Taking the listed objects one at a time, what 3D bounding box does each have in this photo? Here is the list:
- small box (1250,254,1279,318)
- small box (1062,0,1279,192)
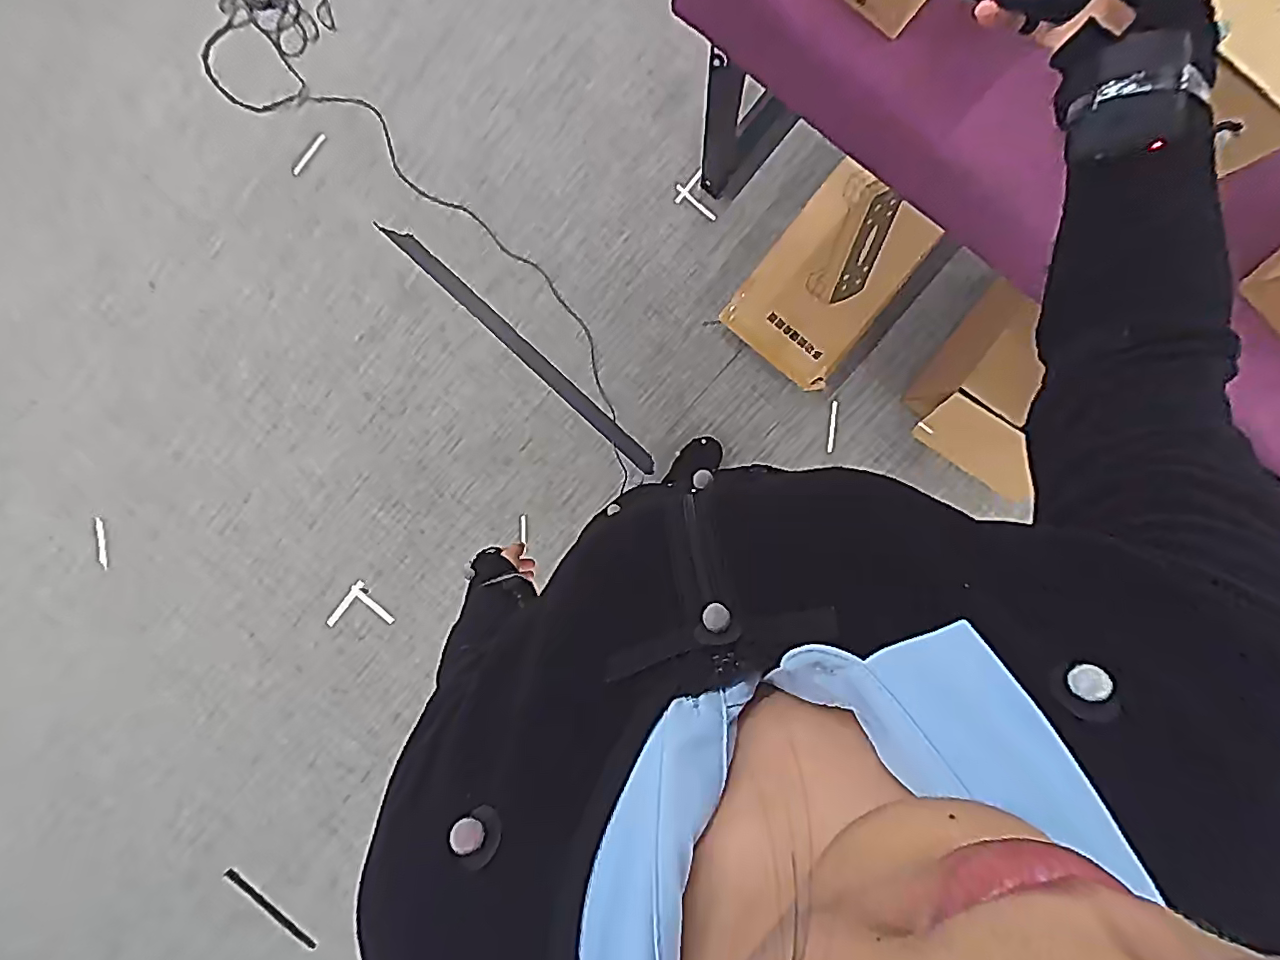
[{"bbox_3d":[0.868,-0.236,0.596,0.168,0.176,0.179,-43,90,6],"label":"small box"},{"bbox_3d":[0.639,-0.457,0.596,0.179,0.176,0.168,40,94,1],"label":"small box"}]
